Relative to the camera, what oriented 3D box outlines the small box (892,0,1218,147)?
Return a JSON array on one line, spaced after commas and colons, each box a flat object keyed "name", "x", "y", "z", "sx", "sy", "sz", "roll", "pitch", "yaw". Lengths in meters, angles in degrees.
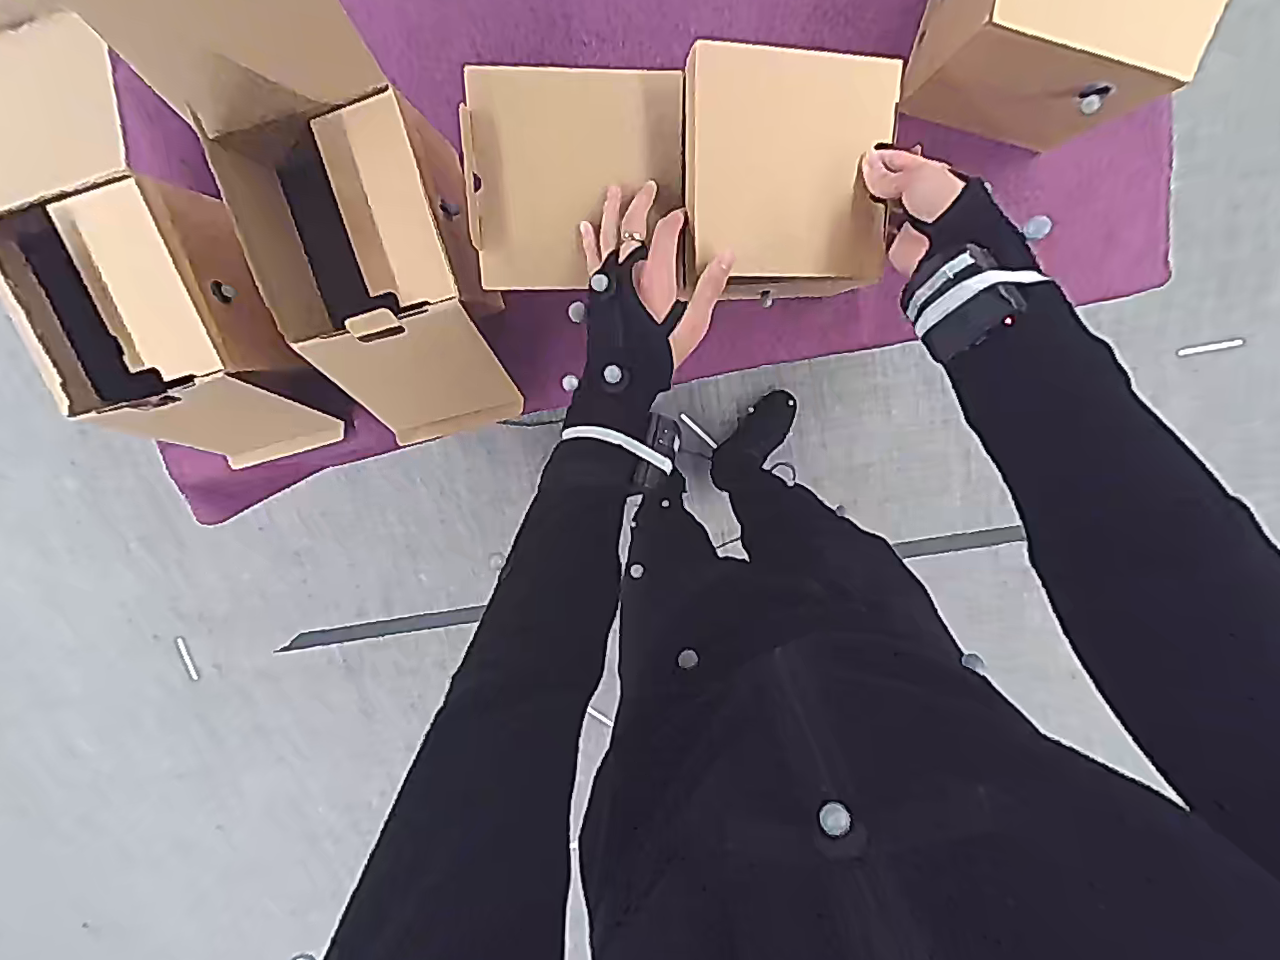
[{"name": "small box", "x": 0.366, "y": -0.426, "z": 0.482, "sx": 0.179, "sy": 0.176, "sz": 0.168, "roll": 15, "pitch": 104, "yaw": -3}]
